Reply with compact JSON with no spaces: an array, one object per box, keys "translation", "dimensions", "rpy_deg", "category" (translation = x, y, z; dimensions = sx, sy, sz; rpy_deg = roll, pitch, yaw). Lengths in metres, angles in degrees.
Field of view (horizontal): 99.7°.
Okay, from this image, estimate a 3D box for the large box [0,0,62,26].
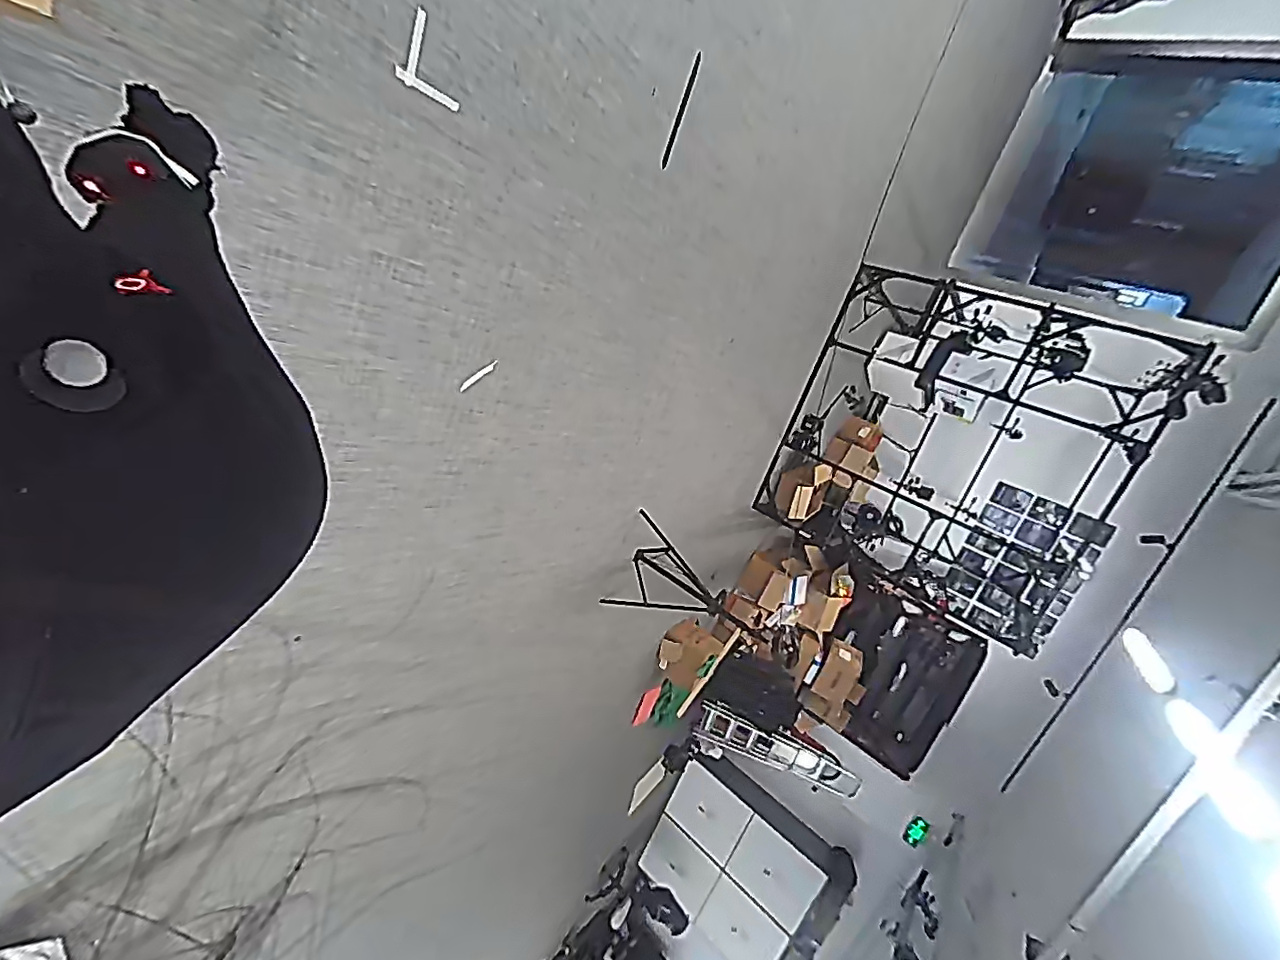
[{"translation":[-0.956,-0.791,0.591],"dimensions":[0.408,0.320,0.320],"rpy_deg":[-5,120,-56],"category":"large box"}]
